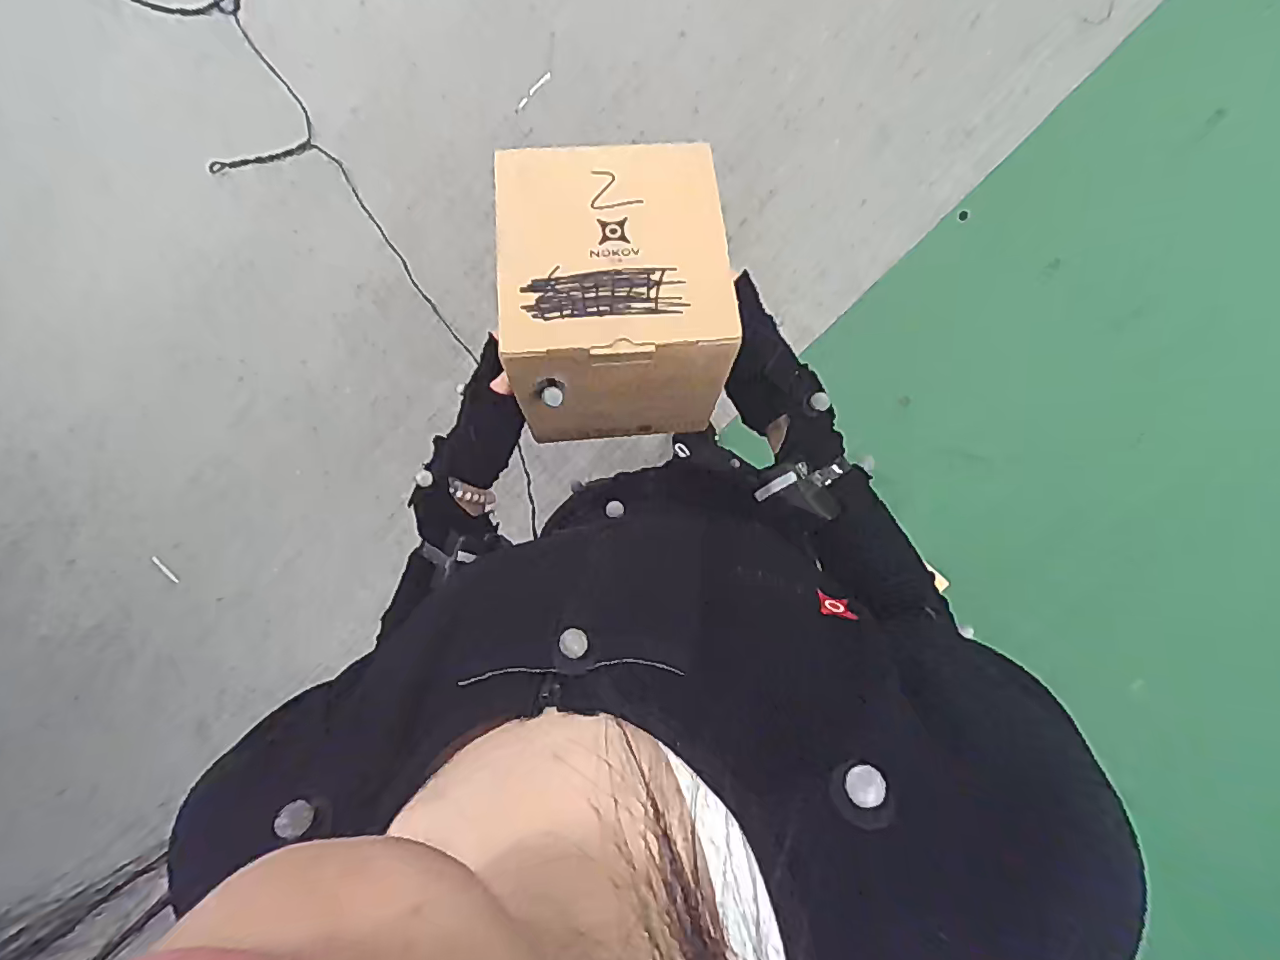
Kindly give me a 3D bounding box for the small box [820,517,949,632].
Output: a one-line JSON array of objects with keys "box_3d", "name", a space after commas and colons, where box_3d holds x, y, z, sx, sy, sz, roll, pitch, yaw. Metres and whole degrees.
[{"box_3d": [0.542, 0.202, 1.222, 0.179, 0.176, 0.168, 42, 97, 0], "name": "small box"}]
